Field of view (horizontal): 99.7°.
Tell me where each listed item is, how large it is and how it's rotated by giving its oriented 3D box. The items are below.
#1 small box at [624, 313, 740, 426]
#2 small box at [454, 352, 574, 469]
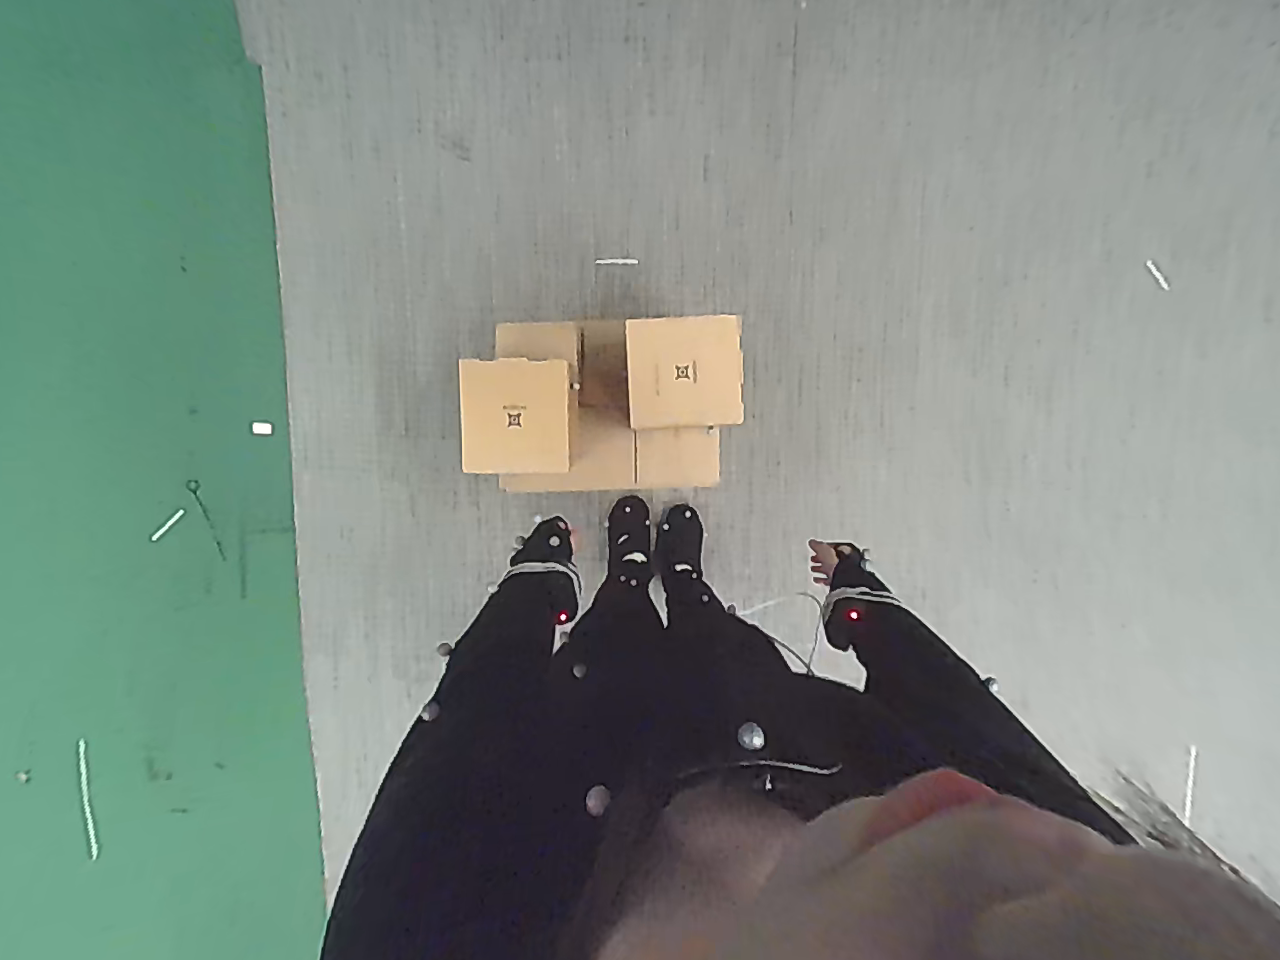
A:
[{"bbox_3d":[0.063,-0.176,0.895,0.179,0.176,0.168,-1,95,1],"label":"small box"},{"bbox_3d":[-0.199,-0.115,0.898,0.168,0.176,0.179,0,97,-2],"label":"small box"}]
